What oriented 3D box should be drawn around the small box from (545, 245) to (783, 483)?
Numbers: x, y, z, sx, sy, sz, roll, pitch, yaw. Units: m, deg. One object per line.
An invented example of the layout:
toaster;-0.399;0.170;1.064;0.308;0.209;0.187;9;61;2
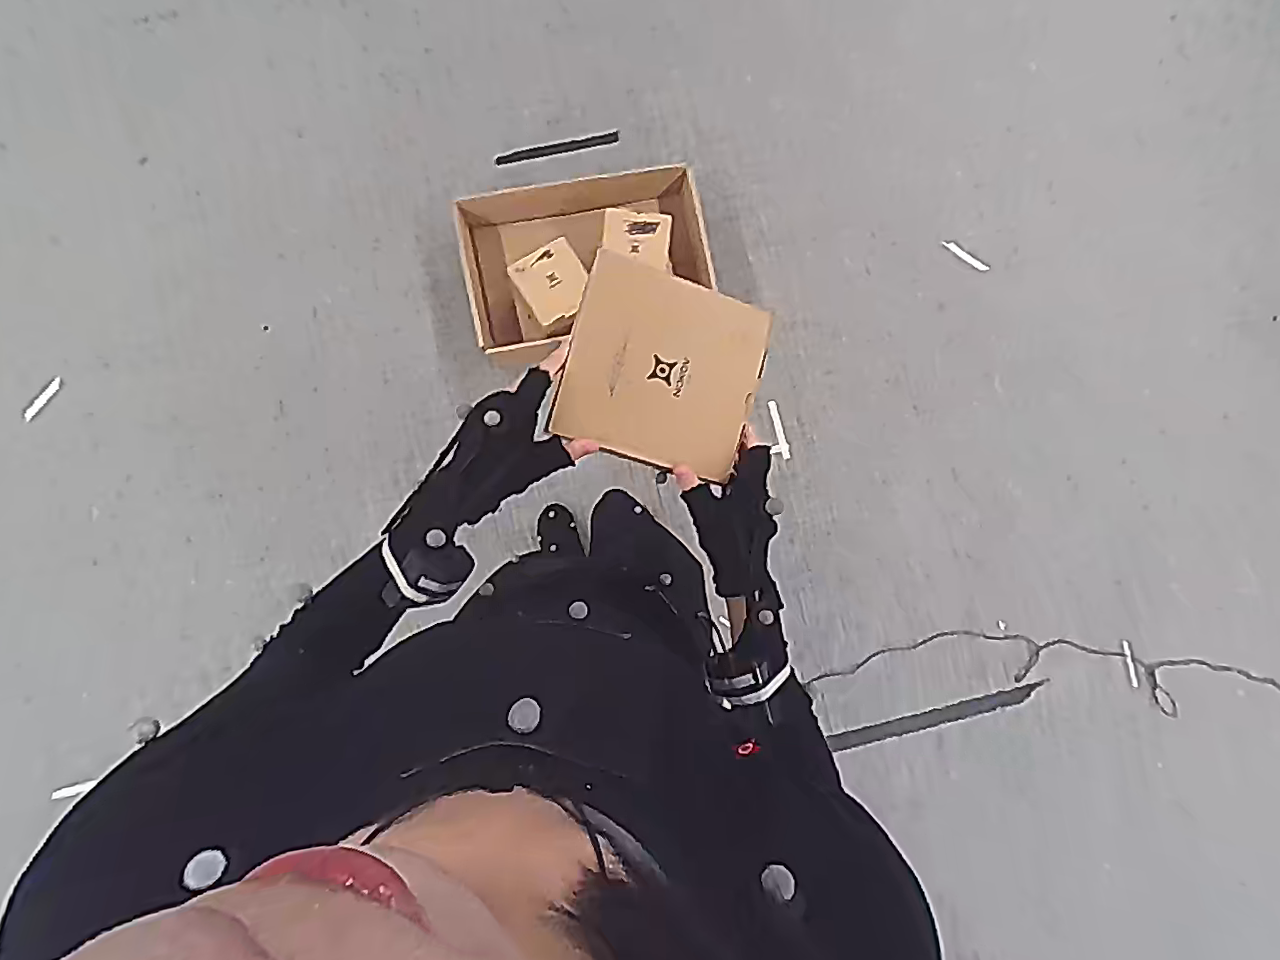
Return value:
small box;0.011;-0.102;0.549;0.179;0.176;0.168;16;89;-12
